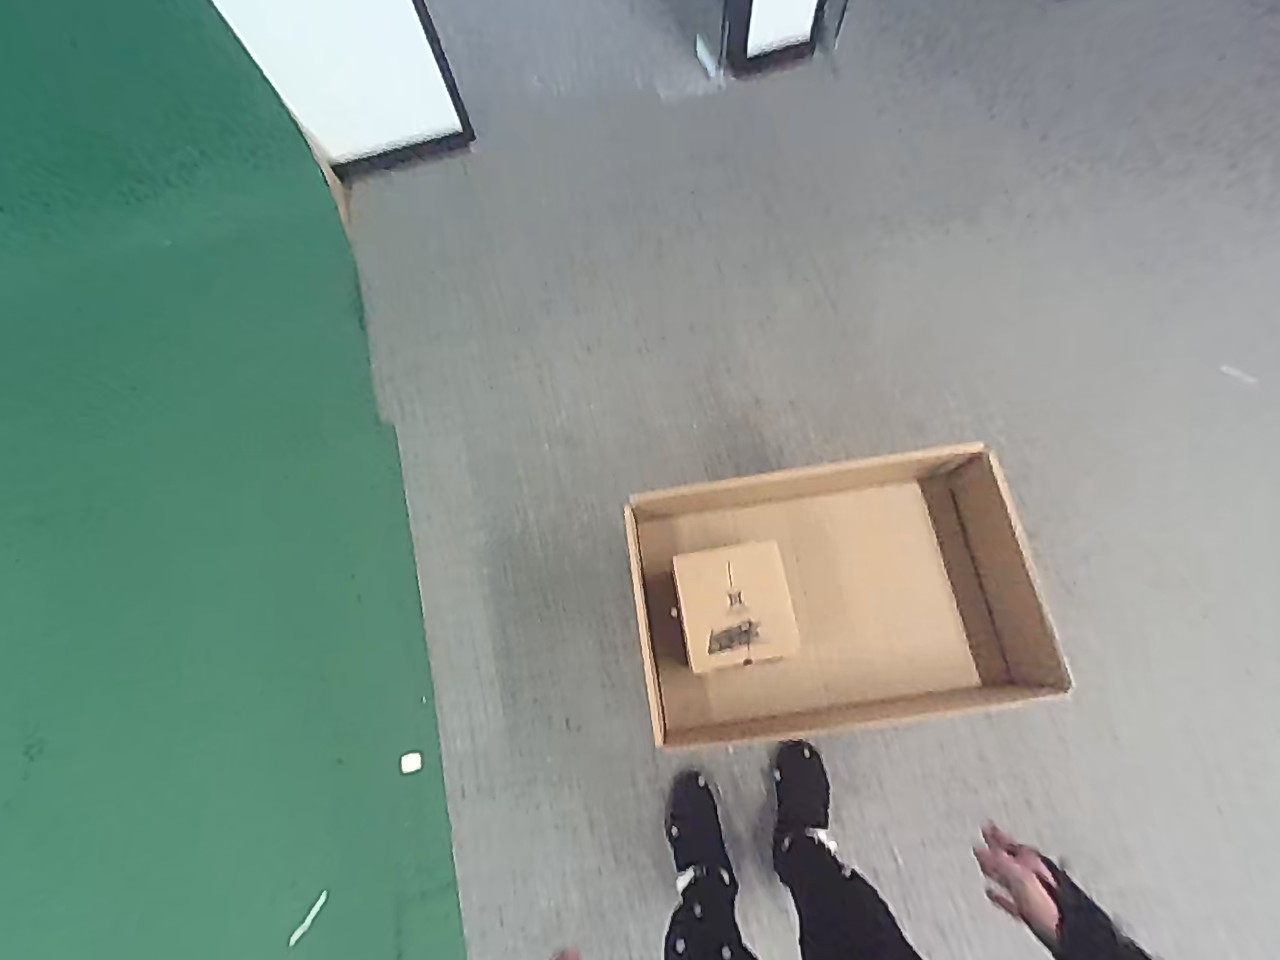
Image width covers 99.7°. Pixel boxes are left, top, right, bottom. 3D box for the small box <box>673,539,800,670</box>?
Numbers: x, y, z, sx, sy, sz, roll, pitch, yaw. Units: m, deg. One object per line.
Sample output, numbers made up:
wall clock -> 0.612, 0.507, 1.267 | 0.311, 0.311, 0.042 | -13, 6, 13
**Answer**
small box -> 0.151, 0.207, 0.894 | 0.168, 0.176, 0.179 | -10, 73, 2
